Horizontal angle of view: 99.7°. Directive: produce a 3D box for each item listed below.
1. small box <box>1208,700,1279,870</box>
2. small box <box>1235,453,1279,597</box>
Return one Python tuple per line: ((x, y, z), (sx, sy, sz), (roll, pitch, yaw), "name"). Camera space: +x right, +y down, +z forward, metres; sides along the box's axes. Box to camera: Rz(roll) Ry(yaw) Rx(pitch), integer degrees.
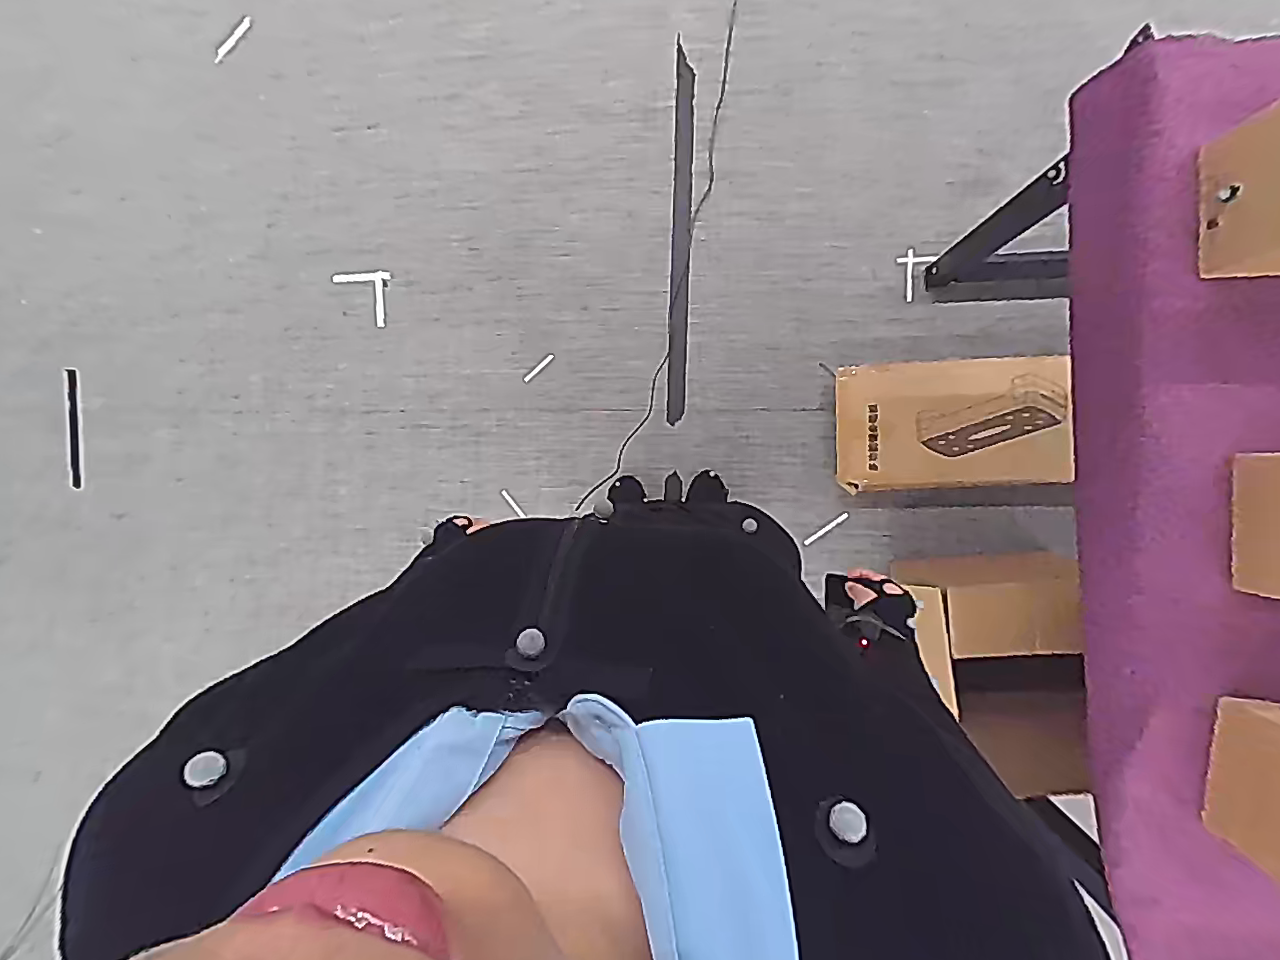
((0.816, 0.375, 0.616), (0.168, 0.176, 0.179), (6, 93, 5), "small box")
((0.832, 0.057, 0.603), (0.168, 0.176, 0.179), (-1, 92, 3), "small box")
